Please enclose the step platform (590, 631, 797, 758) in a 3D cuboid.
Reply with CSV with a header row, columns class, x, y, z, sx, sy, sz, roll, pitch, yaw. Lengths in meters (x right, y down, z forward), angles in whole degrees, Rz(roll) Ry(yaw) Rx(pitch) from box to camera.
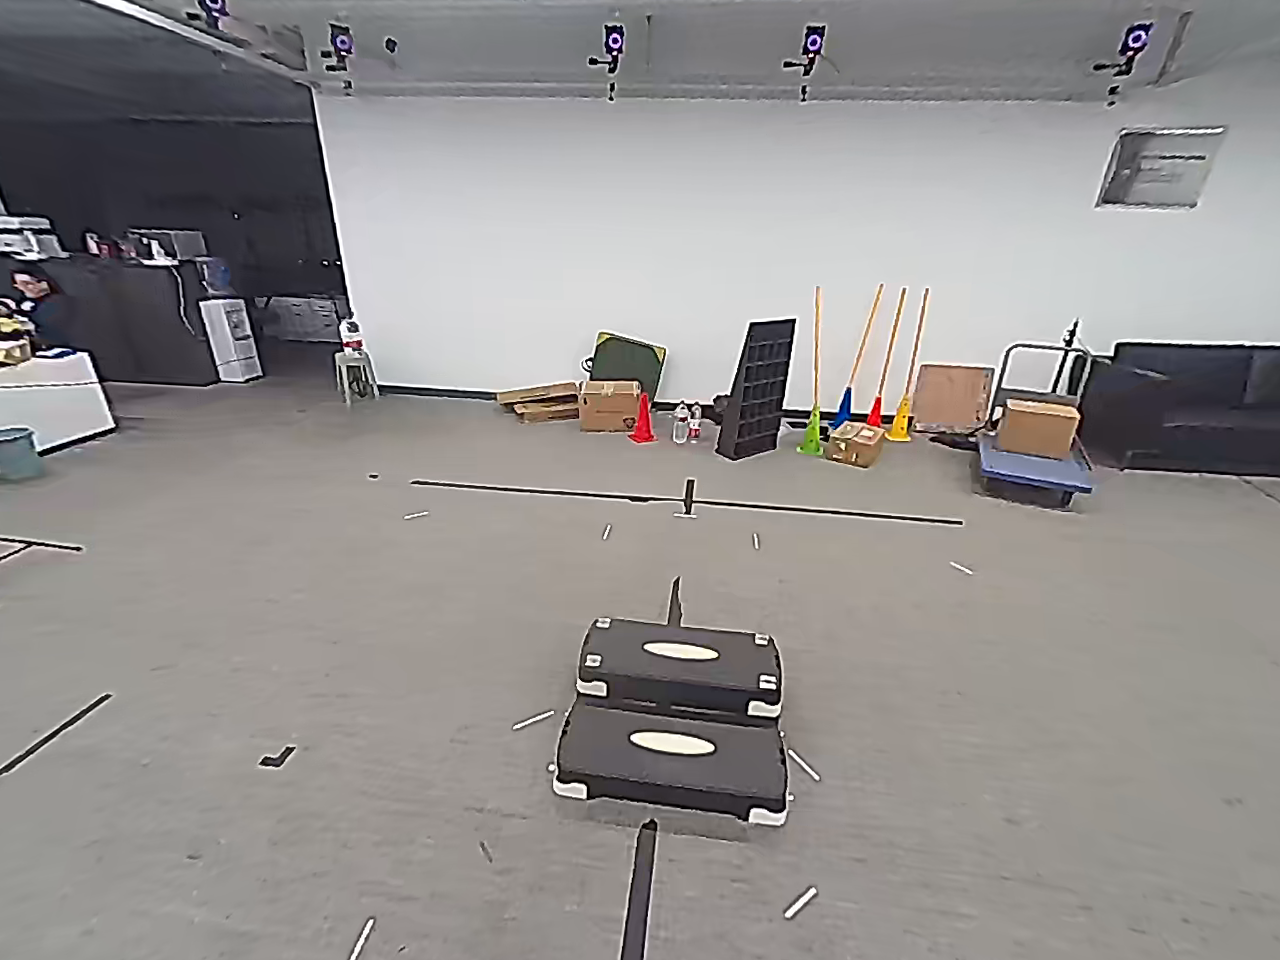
class,x,y,z,sx,sy,sz,roll,pitch,yaw
step platform,0.180,0.714,1.842,0.684,0.204,0.286,6,23,10
